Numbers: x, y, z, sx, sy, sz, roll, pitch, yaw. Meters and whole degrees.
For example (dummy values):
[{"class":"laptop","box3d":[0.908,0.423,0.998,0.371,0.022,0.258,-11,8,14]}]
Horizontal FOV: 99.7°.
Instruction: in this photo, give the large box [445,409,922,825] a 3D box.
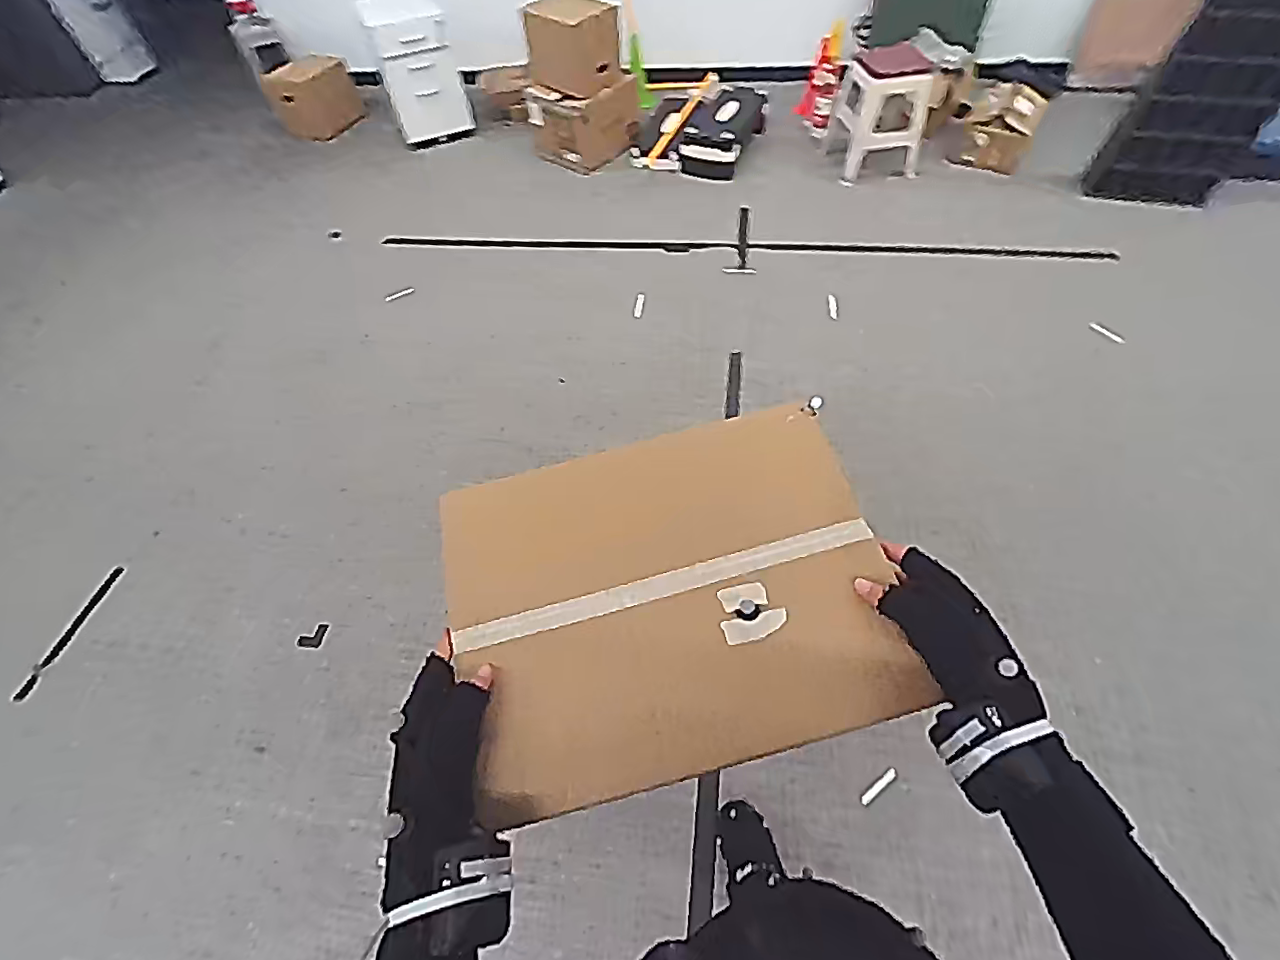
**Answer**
[{"class":"large box","box3d":[0.029,0.172,0.657,0.408,0.320,0.320,-16,63,-3]}]
